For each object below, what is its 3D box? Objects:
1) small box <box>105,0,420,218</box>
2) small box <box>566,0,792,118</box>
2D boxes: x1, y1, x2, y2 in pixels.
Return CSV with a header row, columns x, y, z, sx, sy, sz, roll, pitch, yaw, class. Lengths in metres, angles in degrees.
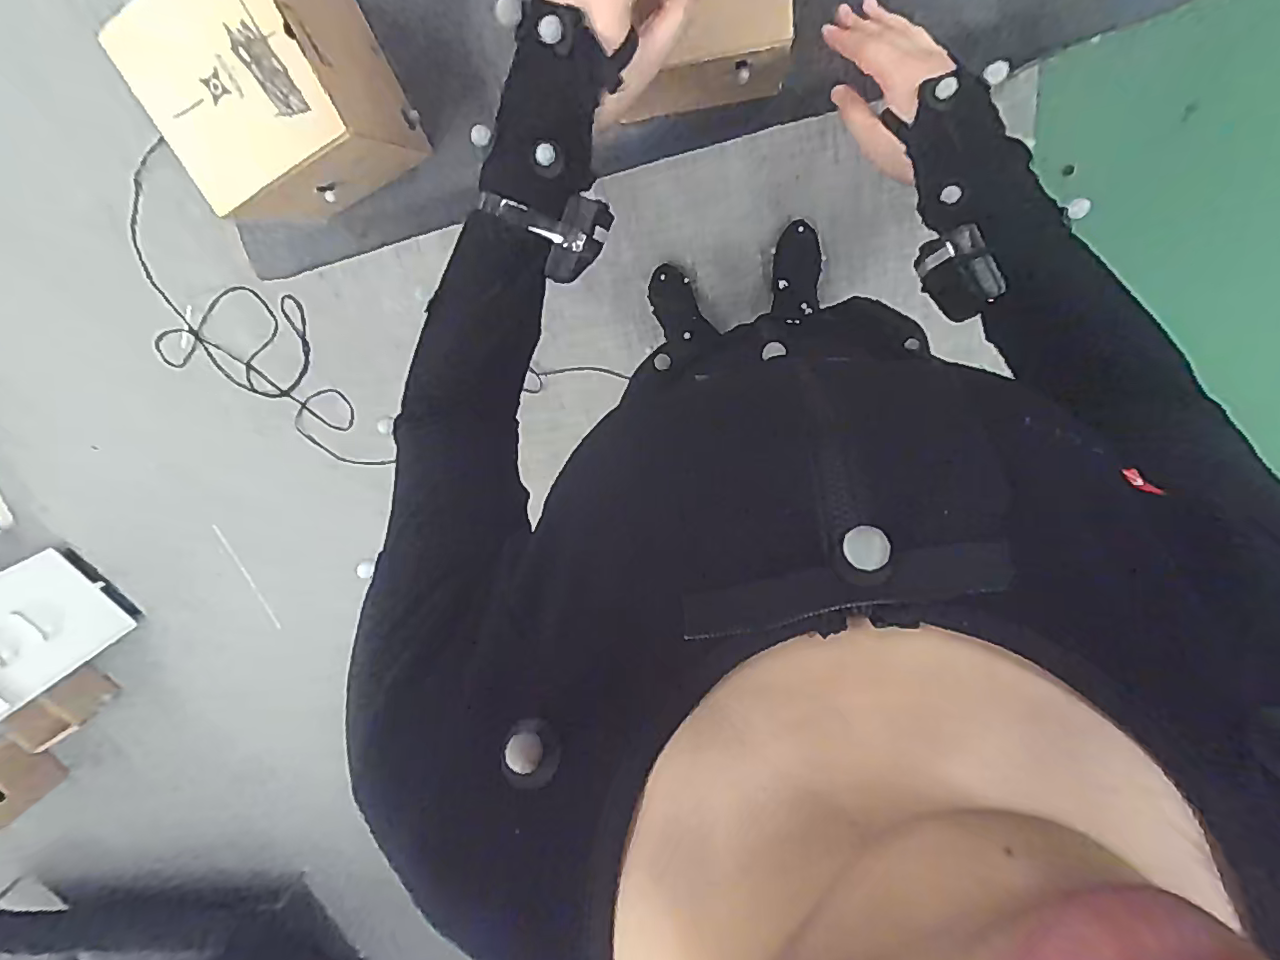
x,y,z,sx,sy,sz,roll,pitch,yaw,class
-0.358,-0.392,0.557,0.179,0.176,0.168,-19,112,17,small box
0.036,-0.441,0.475,0.179,0.176,0.168,-4,114,12,small box
